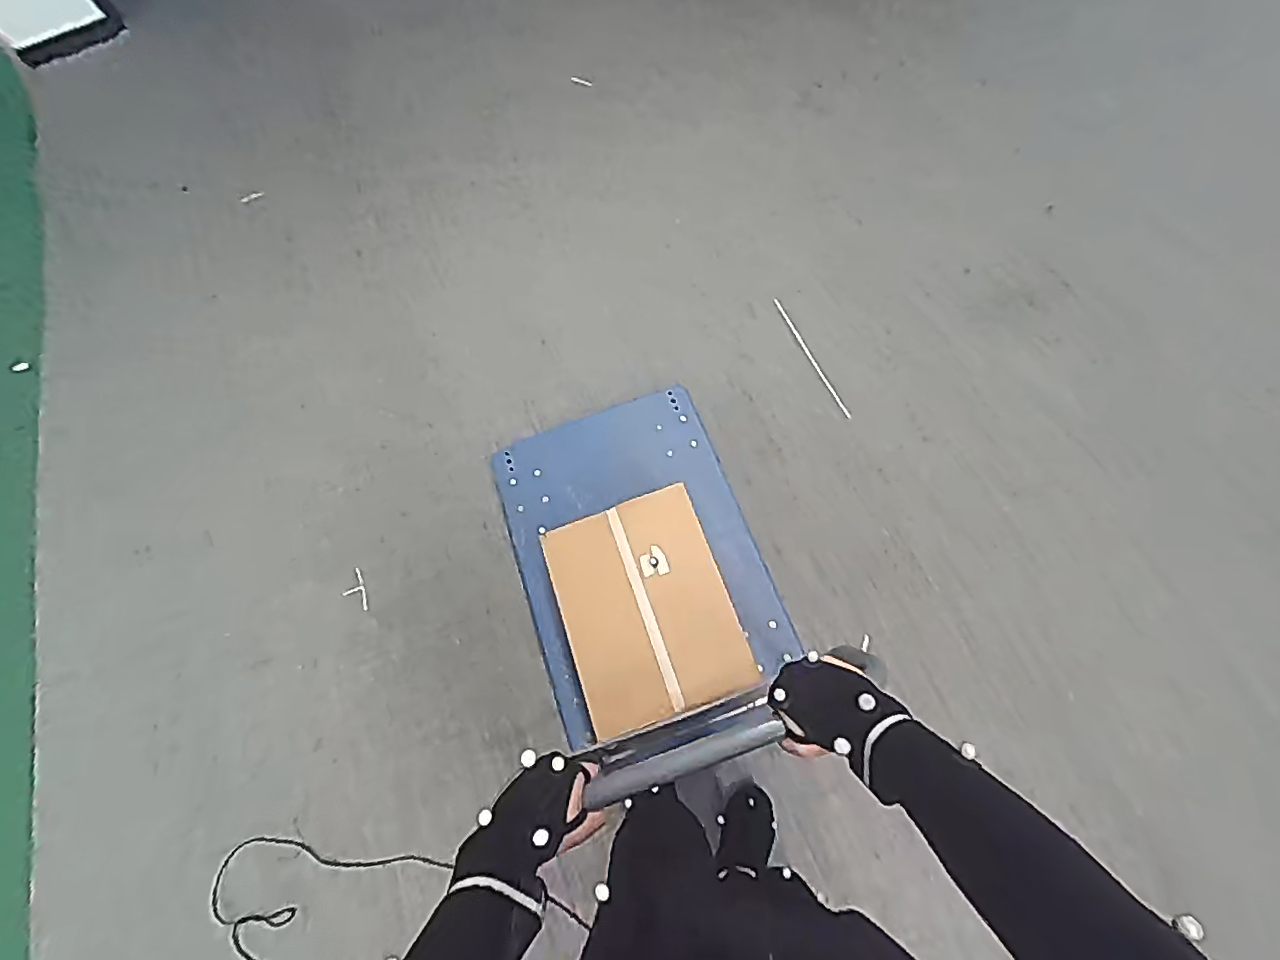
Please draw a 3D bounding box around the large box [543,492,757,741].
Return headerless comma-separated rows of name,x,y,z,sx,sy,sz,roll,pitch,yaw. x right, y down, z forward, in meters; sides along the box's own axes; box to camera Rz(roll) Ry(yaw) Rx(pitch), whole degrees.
large box,0.026,0.299,1.182,0.320,0.320,0.408,-20,68,-1
